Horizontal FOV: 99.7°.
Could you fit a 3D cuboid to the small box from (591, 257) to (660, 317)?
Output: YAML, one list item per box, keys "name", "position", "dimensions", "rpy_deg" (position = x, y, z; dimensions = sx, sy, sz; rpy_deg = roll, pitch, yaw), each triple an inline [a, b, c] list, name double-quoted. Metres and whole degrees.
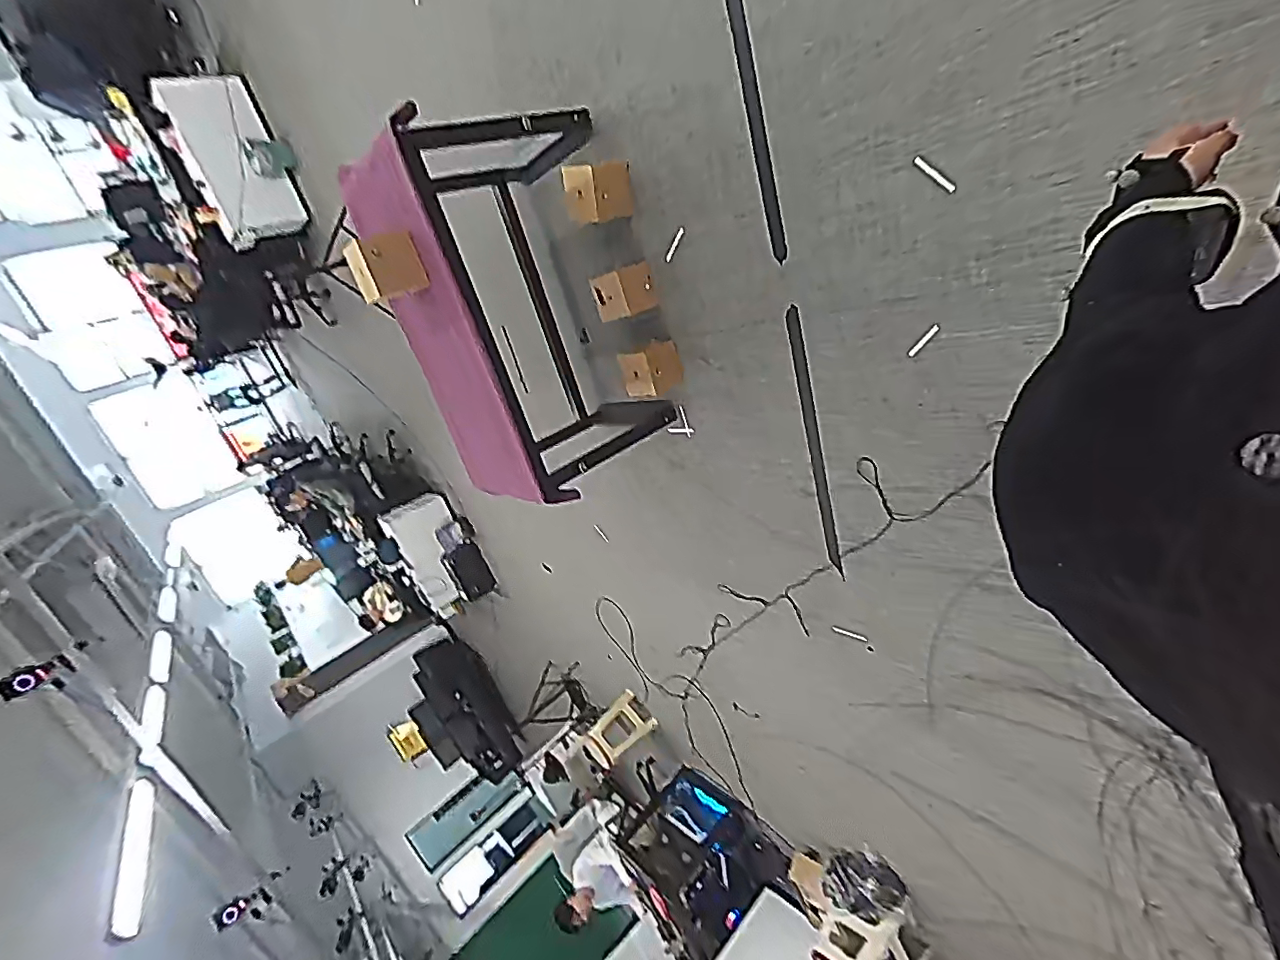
- name: "small box"
  position: [-0.052, -0.735, 2.062]
  dimensions: [0.179, 0.176, 0.168]
  rpy_deg: [7, 122, 49]

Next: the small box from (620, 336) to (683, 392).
- name: "small box"
  position: [0.051, -0.463, 2.159]
  dimensions: [0.168, 0.176, 0.179]
  rpy_deg: [11, 124, 48]

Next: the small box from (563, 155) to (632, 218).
- name: "small box"
  position: [-0.146, -1.049, 1.923]
  dimensions: [0.168, 0.176, 0.179]
  rpy_deg: [26, 137, 38]

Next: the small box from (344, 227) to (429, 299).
- name: "small box"
  position: [-0.811, -0.700, 1.738]
  dimensions: [0.168, 0.176, 0.179]
  rpy_deg: [12, 127, 49]
